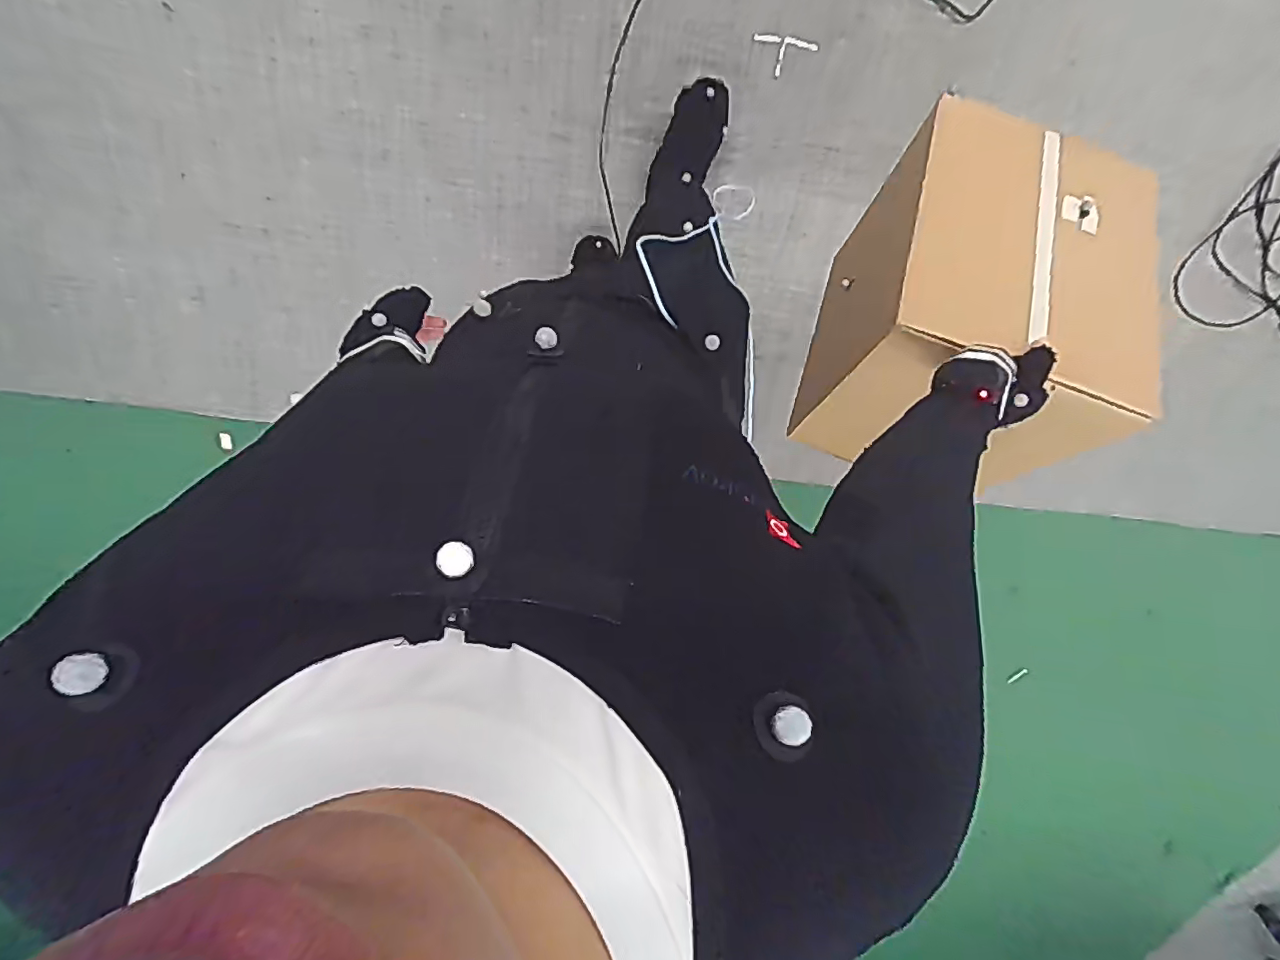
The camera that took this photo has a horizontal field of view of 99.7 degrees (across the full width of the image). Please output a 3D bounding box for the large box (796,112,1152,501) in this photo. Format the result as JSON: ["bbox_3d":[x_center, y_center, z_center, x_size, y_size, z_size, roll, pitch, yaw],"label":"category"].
[{"bbox_3d":[0.468,-0.232,0.811,0.320,0.408,0.320,20,159,-1],"label":"large box"}]
